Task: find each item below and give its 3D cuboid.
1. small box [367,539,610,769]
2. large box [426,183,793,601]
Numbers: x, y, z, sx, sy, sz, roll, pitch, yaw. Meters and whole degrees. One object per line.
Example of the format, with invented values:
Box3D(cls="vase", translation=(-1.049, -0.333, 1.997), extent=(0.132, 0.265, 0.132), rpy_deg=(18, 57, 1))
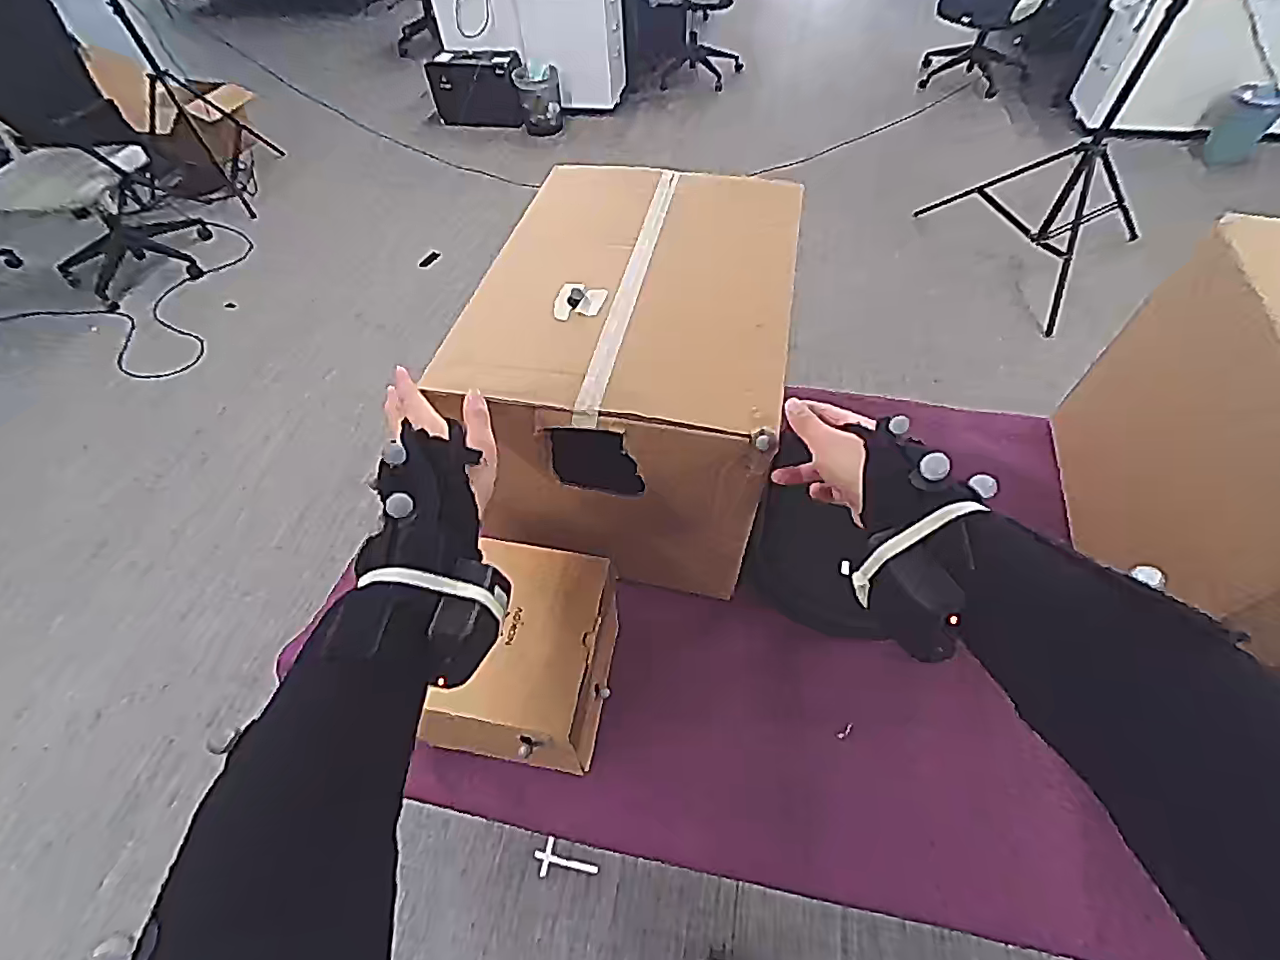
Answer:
Box3D(cls="small box", translation=(-0.133, 0.183, 0.554), extent=(0.179, 0.176, 0.168), rpy_deg=(8, 53, 5))
Box3D(cls="large box", translation=(-0.001, -0.112, 0.685), extent=(0.320, 0.320, 0.408), rpy_deg=(8, 57, 9))
